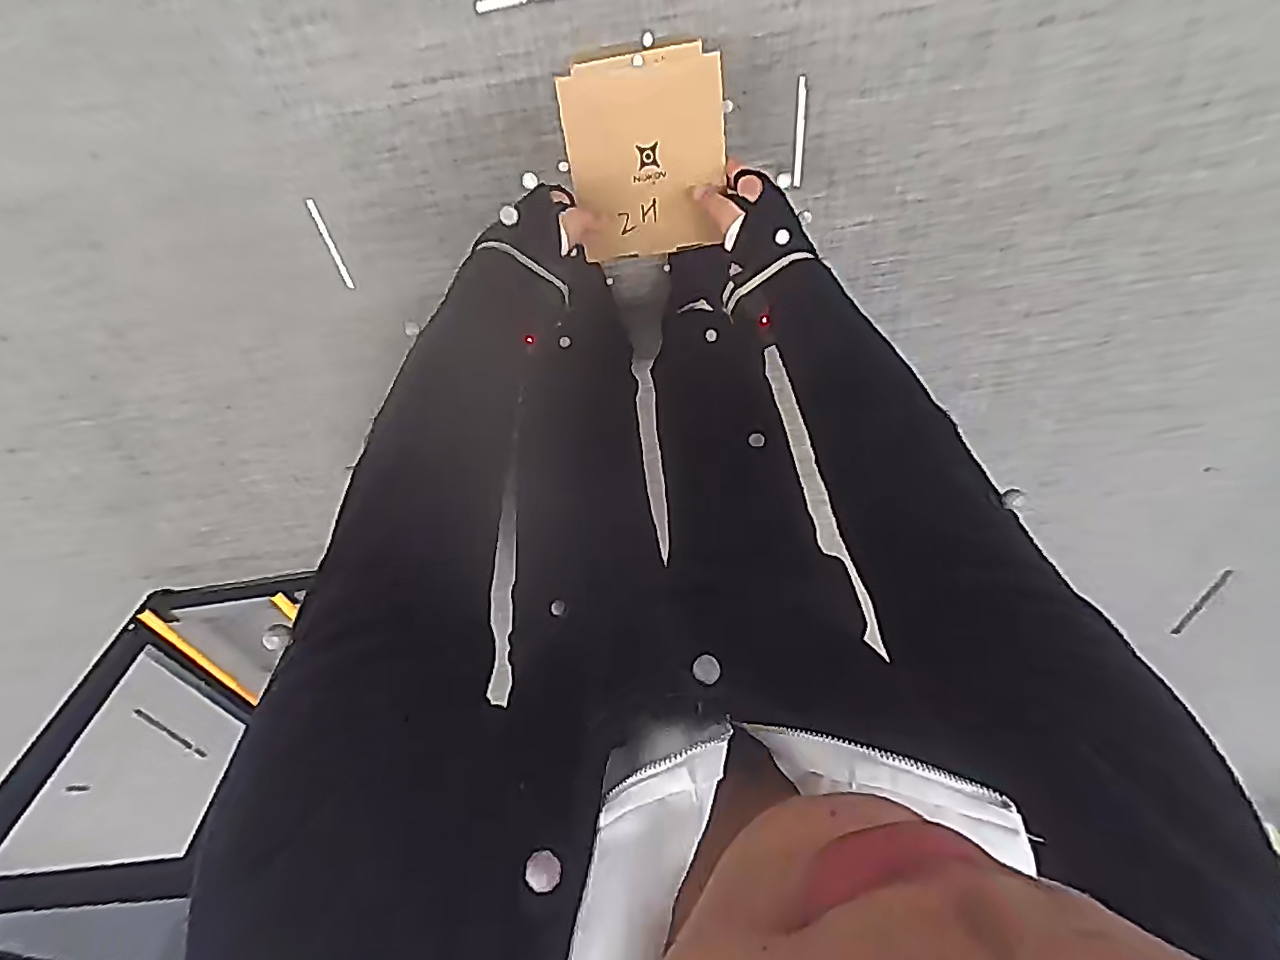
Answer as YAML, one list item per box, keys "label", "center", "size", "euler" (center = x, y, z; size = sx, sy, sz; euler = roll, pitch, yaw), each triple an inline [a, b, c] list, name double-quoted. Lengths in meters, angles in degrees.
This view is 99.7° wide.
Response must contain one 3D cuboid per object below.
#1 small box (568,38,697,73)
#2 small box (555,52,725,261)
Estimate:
- label: "small box"
  center: [-0.001, -0.506, 0.776]
  size: [0.168, 0.176, 0.179]
  euler: [-8, 132, 3]
- label: "small box"
  center: [0.002, -0.371, 0.638]
  size: [0.168, 0.176, 0.179]
  euler: [-7, 121, 3]
